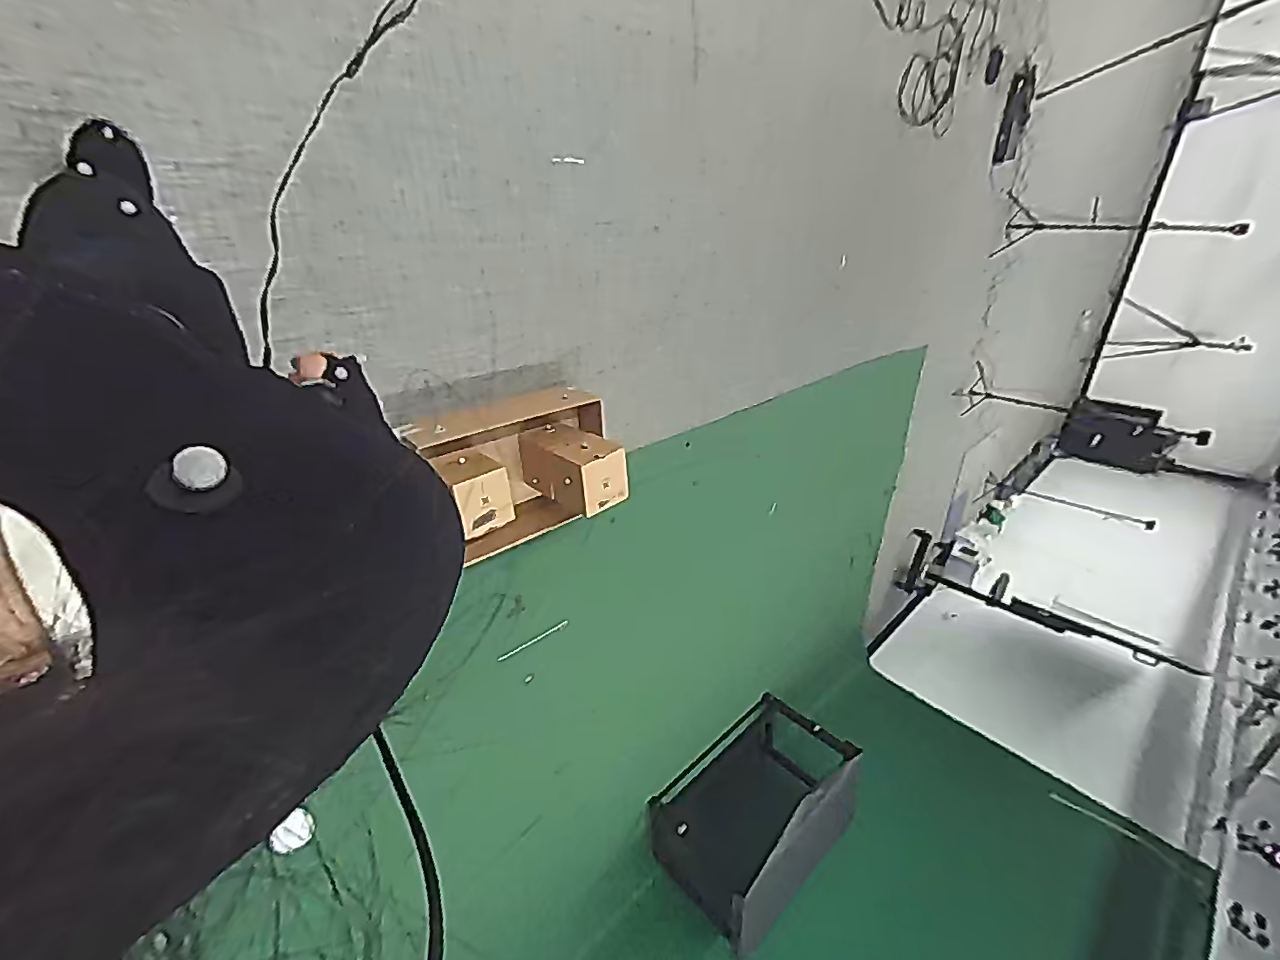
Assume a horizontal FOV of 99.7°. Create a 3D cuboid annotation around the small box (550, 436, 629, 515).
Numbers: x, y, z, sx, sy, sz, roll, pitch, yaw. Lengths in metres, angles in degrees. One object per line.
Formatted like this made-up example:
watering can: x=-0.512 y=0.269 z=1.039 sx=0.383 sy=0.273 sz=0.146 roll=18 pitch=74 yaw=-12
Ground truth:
small box: x=-0.155 y=-0.023 z=1.635 sx=0.168 sy=0.176 sz=0.179 roll=-26 pitch=124 yaw=-35
